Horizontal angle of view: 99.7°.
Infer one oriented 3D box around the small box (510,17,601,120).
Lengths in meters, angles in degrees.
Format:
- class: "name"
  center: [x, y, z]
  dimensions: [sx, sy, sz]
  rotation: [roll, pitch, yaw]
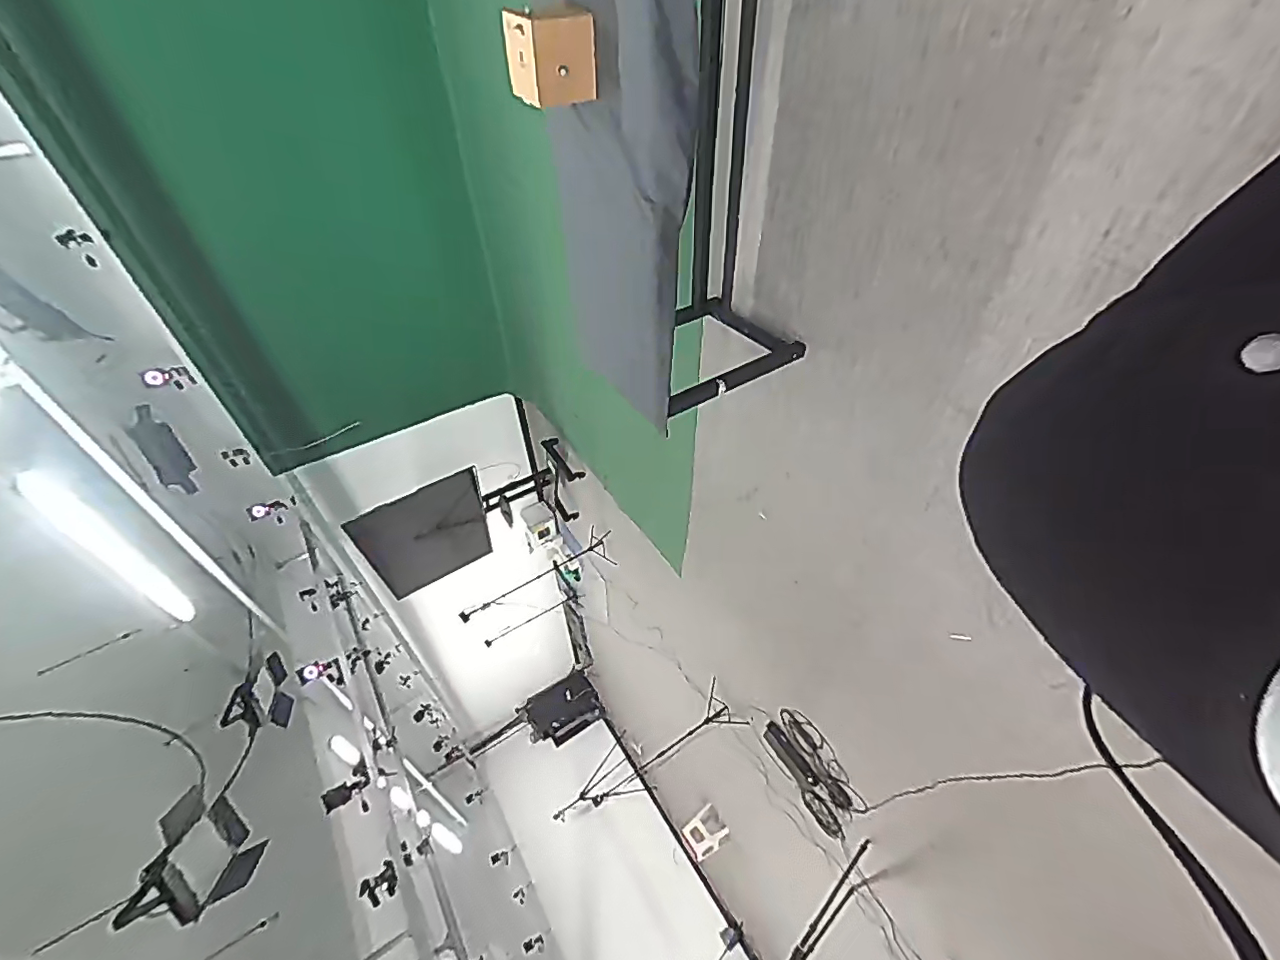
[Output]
- class: "small box"
  center: [-0.211, -1.059, 1.389]
  dimensions: [0.168, 0.176, 0.179]
  rotation: [48, 153, 33]
